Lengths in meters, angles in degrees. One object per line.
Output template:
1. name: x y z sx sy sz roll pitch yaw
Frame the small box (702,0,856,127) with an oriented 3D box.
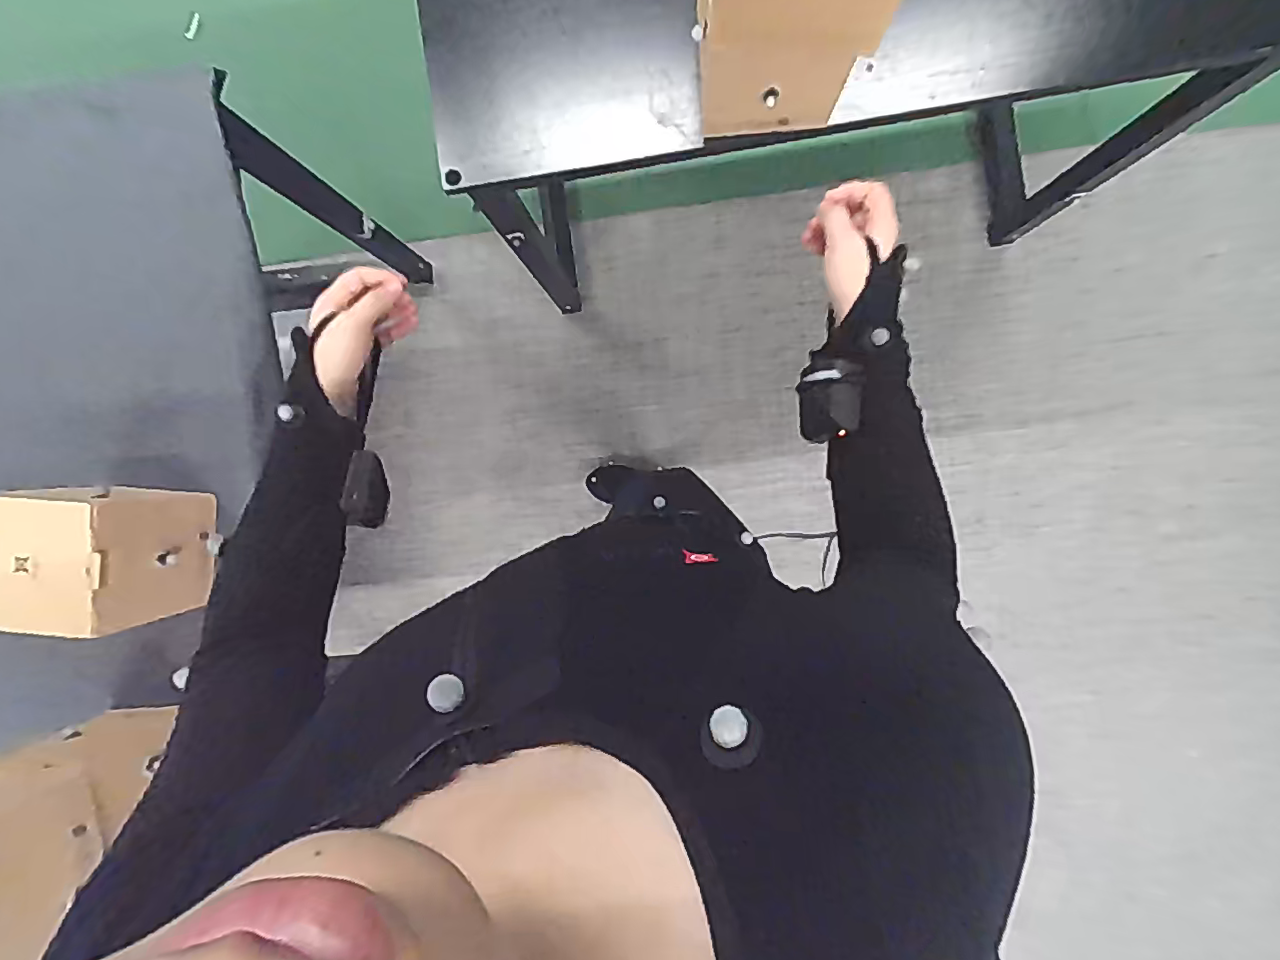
1. small box: 0.161 -0.549 0.639 0.168 0.176 0.179 -3 92 3

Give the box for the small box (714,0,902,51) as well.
1. small box: 0.166 -0.522 0.477 0.179 0.176 0.168 5 93 4

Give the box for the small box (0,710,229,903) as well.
1. small box: -0.717 0.435 0.745 0.168 0.176 0.179 -7 92 7

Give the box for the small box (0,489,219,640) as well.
1. small box: -0.713 0.103 0.730 0.179 0.176 0.168 3 93 5
